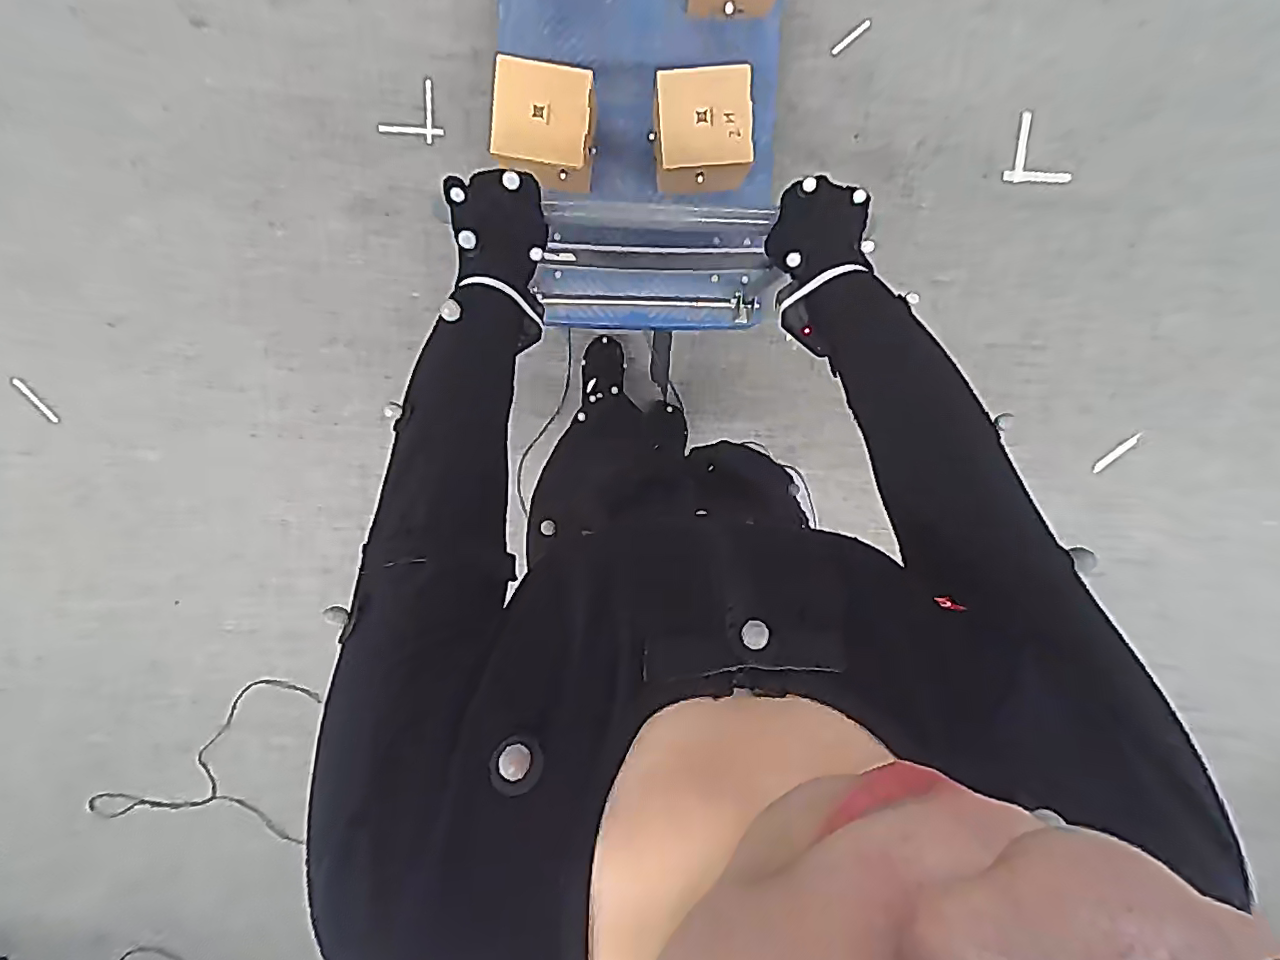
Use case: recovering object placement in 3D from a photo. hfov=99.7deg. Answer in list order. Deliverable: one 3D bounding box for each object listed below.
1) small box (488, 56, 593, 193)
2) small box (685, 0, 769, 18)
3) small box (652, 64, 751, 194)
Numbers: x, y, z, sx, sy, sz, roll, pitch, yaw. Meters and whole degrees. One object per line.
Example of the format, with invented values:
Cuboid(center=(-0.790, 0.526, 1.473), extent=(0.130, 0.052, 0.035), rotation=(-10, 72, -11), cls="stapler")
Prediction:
Cuboid(center=(-0.190, -0.686, 1.065), extent=(0.179, 0.176, 0.168), rotation=(6, 102, -5), cls="small box")
Cuboid(center=(0.174, -1.012, 1.005), extent=(0.168, 0.176, 0.179), rotation=(-2, 103, -1), cls="small box")
Cuboid(center=(0.115, -0.685, 1.075), extent=(0.179, 0.176, 0.168), rotation=(-5, 103, -1), cls="small box")
